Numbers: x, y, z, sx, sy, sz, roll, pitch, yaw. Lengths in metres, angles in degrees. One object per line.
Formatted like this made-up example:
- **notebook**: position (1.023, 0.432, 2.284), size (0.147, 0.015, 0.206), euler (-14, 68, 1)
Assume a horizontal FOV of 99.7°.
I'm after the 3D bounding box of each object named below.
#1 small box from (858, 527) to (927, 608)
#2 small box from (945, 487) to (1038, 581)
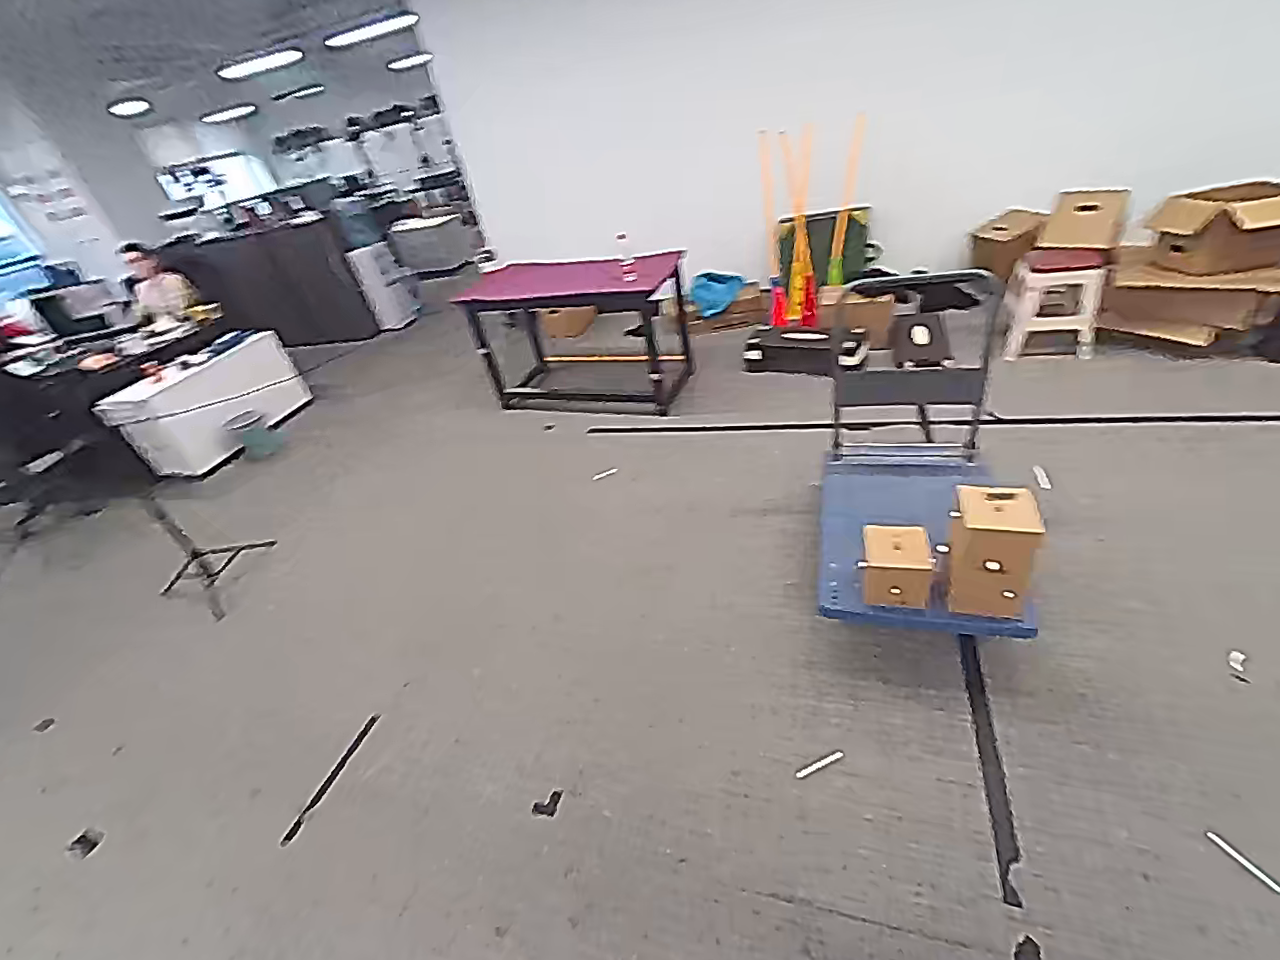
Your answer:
- **small box**: position (0.746, 0.261, 1.610), size (0.168, 0.176, 0.179), euler (1, 37, 17)
- **small box**: position (0.923, 0.140, 1.438), size (0.168, 0.176, 0.179), euler (3, 38, 20)
